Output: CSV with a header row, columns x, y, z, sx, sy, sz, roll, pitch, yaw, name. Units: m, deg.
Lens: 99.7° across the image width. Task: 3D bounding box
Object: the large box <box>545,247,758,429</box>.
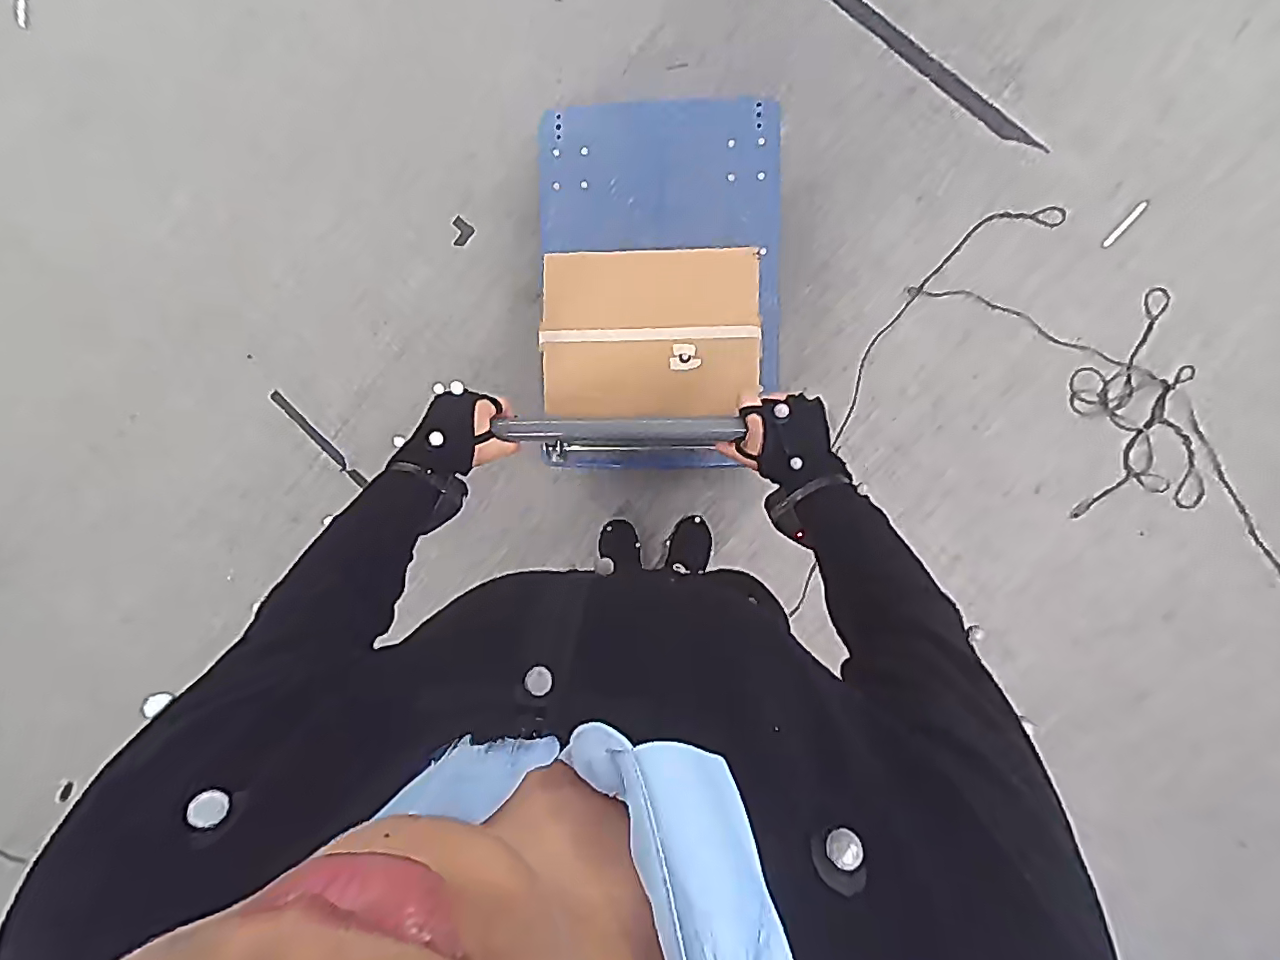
x,y,z,sx,sy,sz,roll,pitch,yaw,name
0.028,-0.278,1.161,0.408,0.320,0.320,0,92,4,large box
